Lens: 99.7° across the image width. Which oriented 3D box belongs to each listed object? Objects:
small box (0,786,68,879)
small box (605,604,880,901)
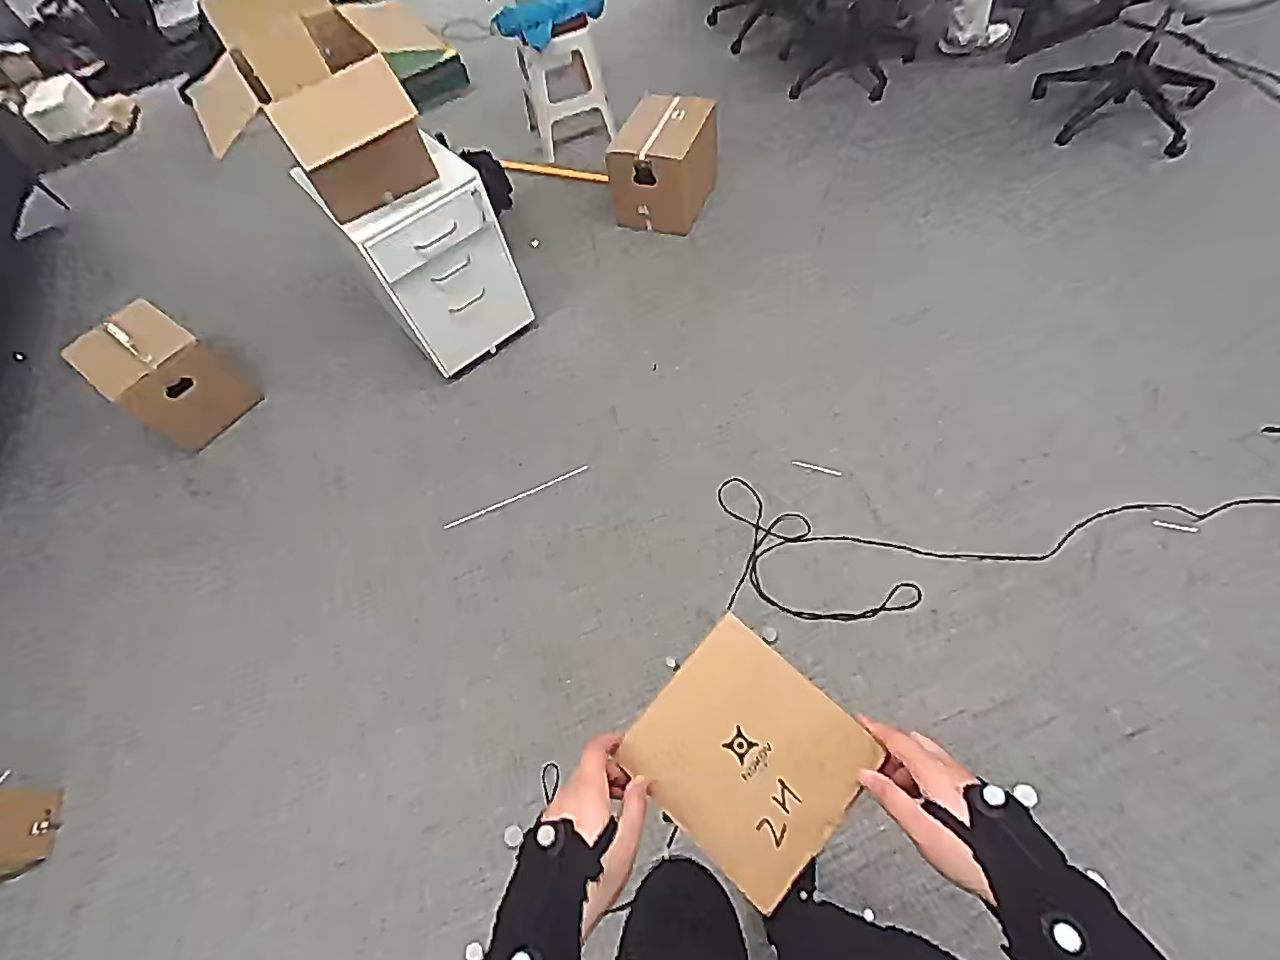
[{"bbox_3d":[-1.570,0.866,1.311,0.179,0.176,0.168,-21,60,-5],"label":"small box"},{"bbox_3d":[0.092,0.246,0.536,0.179,0.176,0.168,40,84,15],"label":"small box"}]
